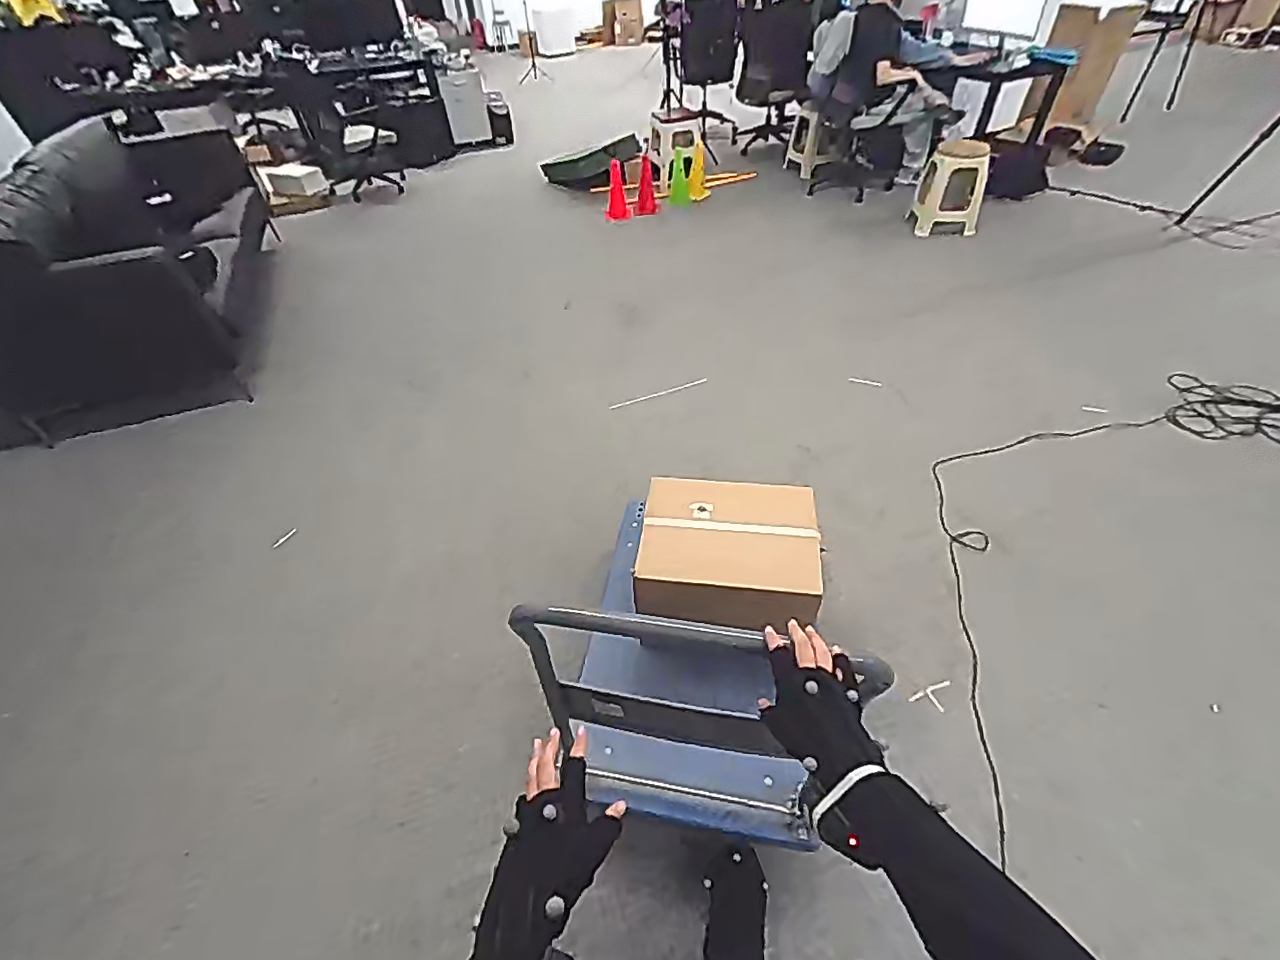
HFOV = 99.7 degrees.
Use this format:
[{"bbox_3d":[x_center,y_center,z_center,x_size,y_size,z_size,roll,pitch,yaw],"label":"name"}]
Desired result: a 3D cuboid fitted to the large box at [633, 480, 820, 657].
[{"bbox_3d":[0.215,0.222,1.362,0.408,0.320,0.320,4,46,10],"label":"large box"}]
